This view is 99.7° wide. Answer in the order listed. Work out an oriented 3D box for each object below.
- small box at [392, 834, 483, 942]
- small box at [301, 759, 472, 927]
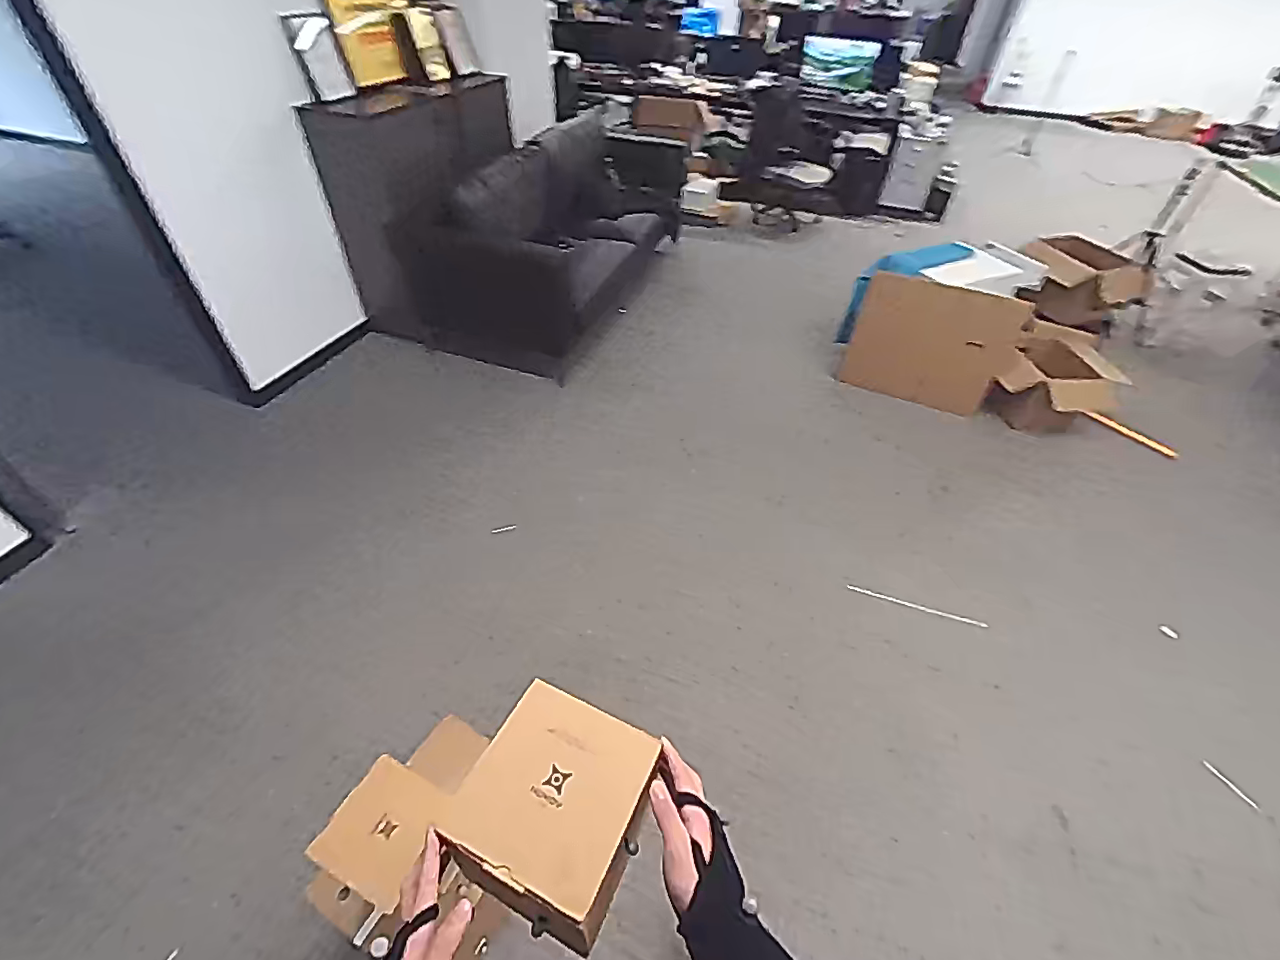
[{"bbox_3d":[-0.419,0.729,1.018,0.179,0.176,0.168,21,46,16],"label":"small box"},{"bbox_3d":[-0.409,0.611,0.906,0.179,0.176,0.168,19,47,16],"label":"small box"}]
